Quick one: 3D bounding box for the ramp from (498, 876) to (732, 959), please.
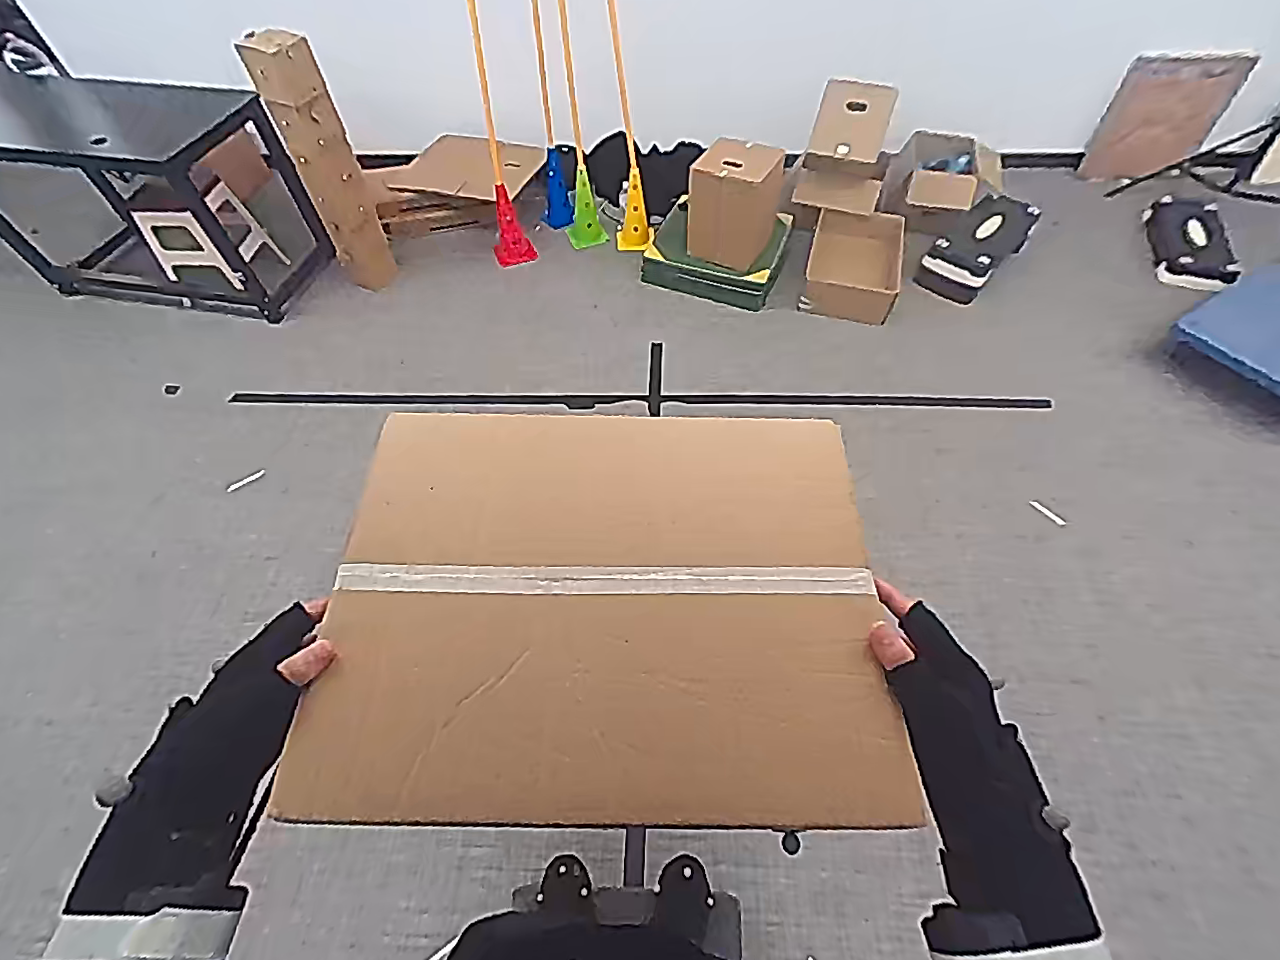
[{"bbox_3d":[-0.063,1.327,0.973,0.509,0.206,0.991,1,56,-1],"label":"ramp"}]

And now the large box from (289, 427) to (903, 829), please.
[{"bbox_3d":[-0.028,0.160,0.548,0.408,0.320,0.320,1,59,-1],"label":"large box"}]
